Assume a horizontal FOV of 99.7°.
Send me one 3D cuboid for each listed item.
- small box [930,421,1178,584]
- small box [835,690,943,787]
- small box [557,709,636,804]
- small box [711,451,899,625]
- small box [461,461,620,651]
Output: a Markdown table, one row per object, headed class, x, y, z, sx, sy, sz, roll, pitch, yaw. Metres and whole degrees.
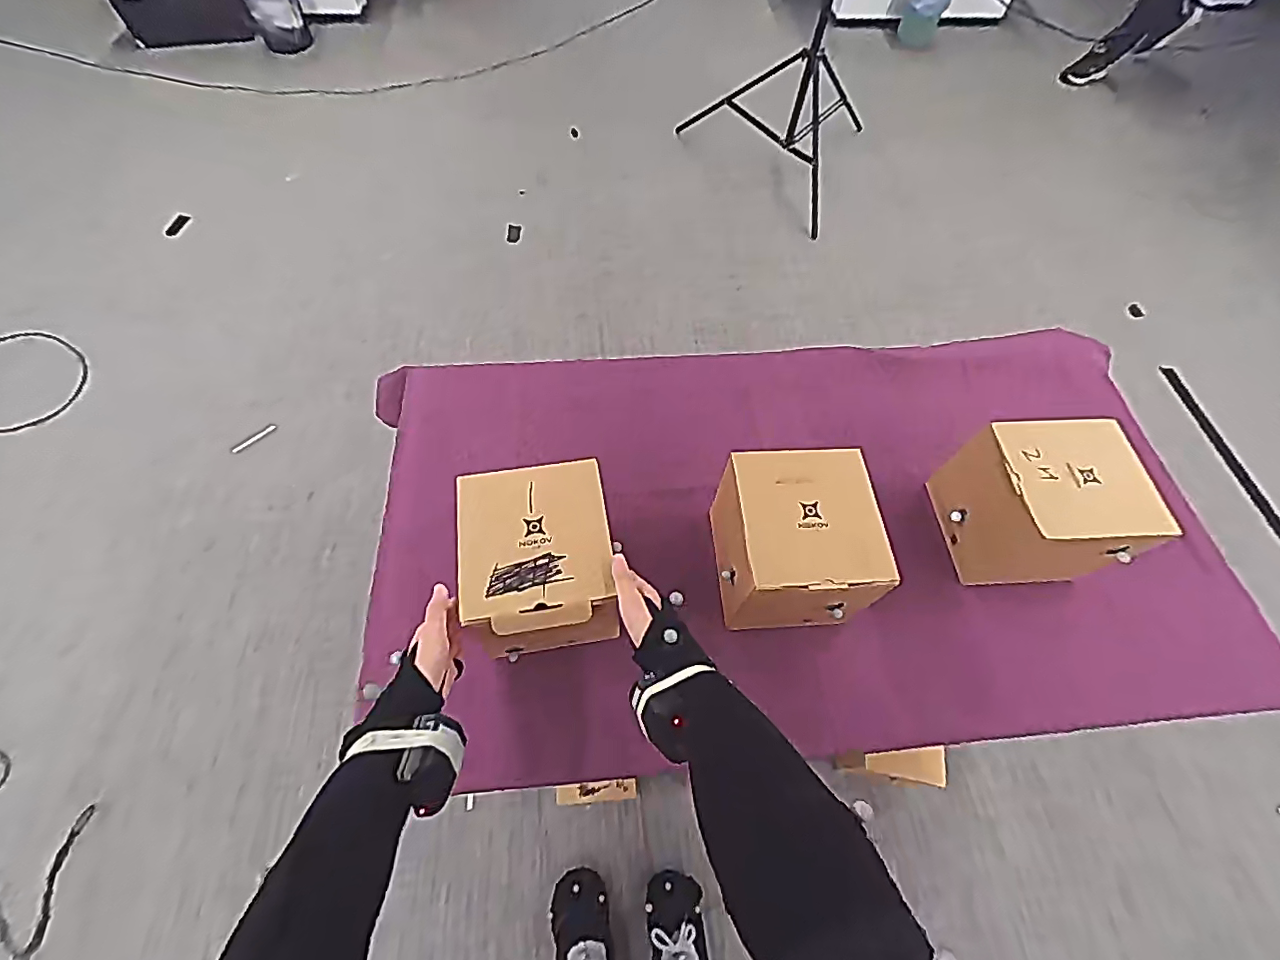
| class | x | y | z | sx | sy | sz | roll | pitch | yaw |
| --- | --- | --- | --- | --- | --- | --- | --- | --- | --- |
| small box | 0.537 | 0.035 | 0.733 | 0.179 | 0.176 | 0.168 | -2 | 61 | -3 |
| small box | 0.575 | 0.601 | 1.260 | 0.179 | 0.176 | 0.168 | 11 | 62 | 5 |
| small box | -0.097 | 0.622 | 1.213 | 0.168 | 0.176 | 0.179 | -2 | 60 | -4 |
| small box | 0.193 | 0.081 | 0.692 | 0.168 | 0.176 | 0.179 | -2 | 59 | -5 |
| small box | -0.116 | 0.101 | 0.663 | 0.168 | 0.176 | 0.179 | -8 | 60 | -7 |
